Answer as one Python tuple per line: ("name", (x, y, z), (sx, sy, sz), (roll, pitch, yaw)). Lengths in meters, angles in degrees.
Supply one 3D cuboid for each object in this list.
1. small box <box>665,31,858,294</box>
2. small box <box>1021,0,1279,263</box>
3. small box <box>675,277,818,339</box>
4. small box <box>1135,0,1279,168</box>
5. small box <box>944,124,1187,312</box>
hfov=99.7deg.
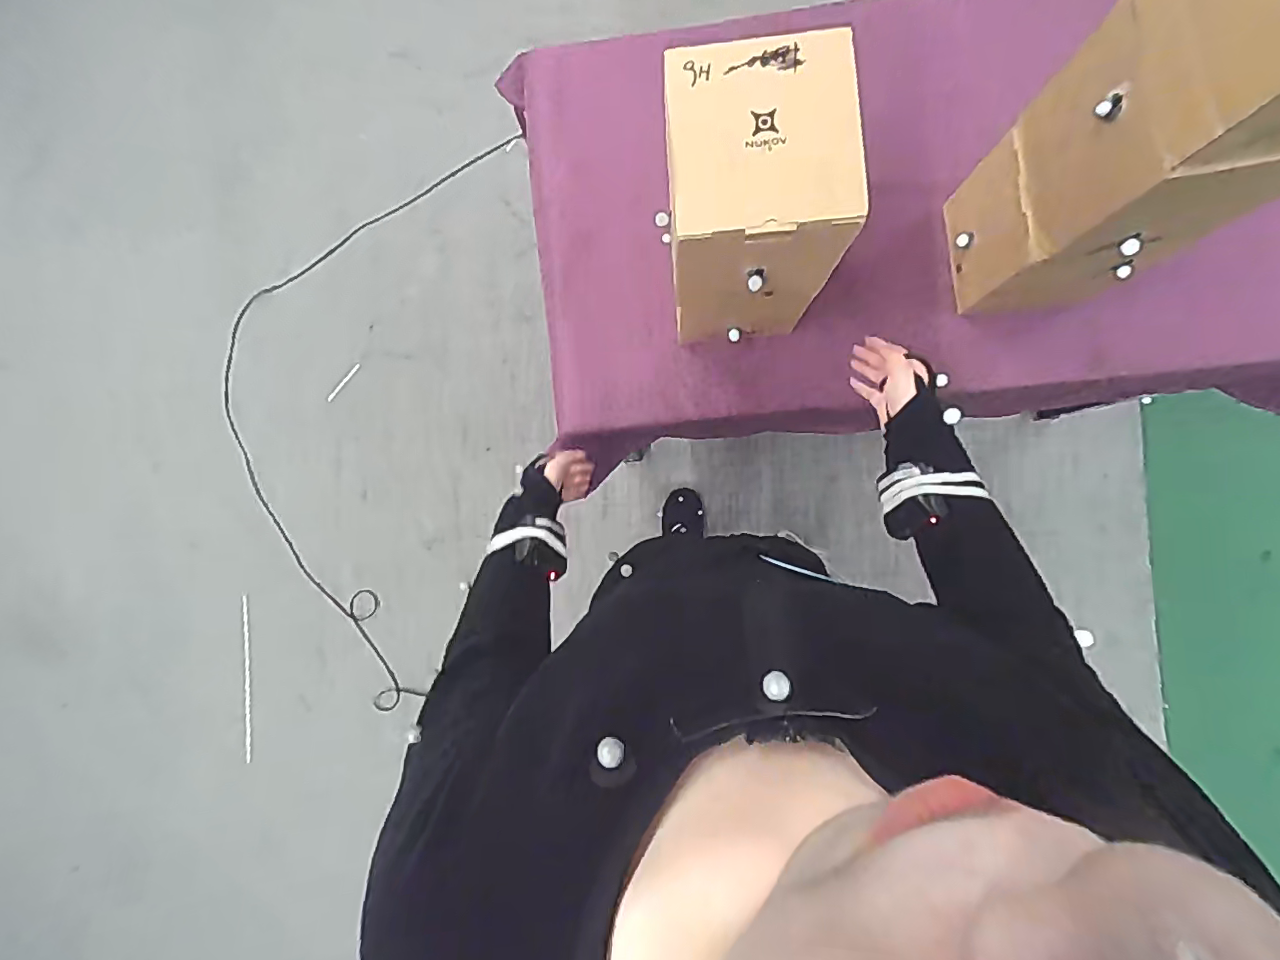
("small box", (0.114, -0.304, 0.560), (0.168, 0.176, 0.179), (-3, 87, 4))
("small box", (0.512, -0.342, 0.531), (0.168, 0.176, 0.179), (-6, 87, 5))
("small box", (0.130, -0.303, 0.723), (0.168, 0.176, 0.179), (-3, 88, 4))
("small box", (0.496, -0.357, 0.370), (0.168, 0.176, 0.179), (-8, 87, 5))
("small box", (0.526, -0.330, 0.693), (0.179, 0.176, 0.168), (-5, 86, 4))
